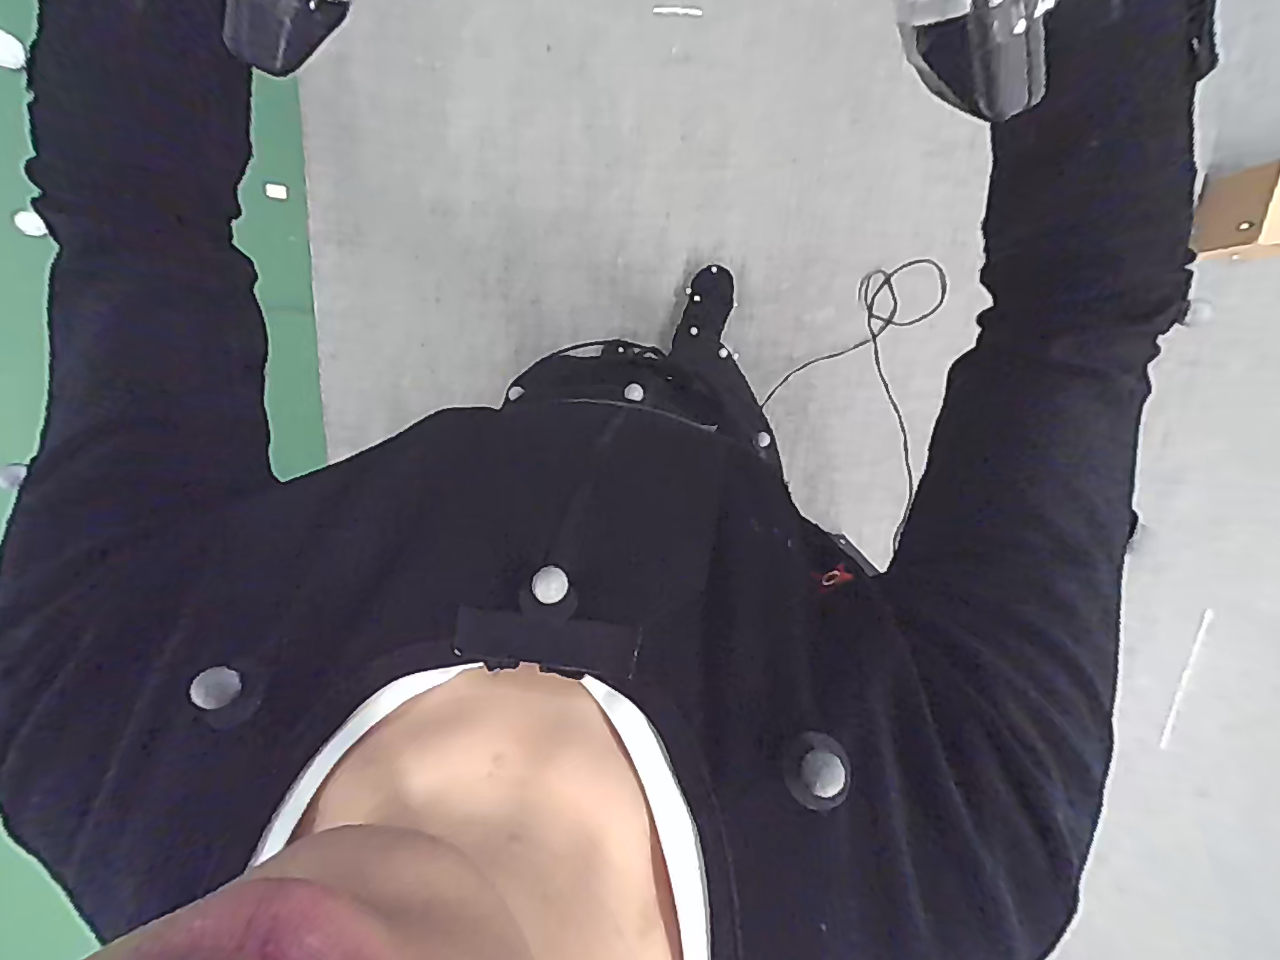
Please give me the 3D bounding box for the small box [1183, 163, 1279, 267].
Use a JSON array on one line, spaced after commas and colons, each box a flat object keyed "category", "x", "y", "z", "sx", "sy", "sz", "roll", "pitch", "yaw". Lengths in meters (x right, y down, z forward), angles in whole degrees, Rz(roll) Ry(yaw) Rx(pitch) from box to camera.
[{"category": "small box", "x": 1.399, "y": -0.590, "z": 1.221, "sx": 0.168, "sy": 0.176, "sz": 0.179, "roll": 4, "pitch": 104, "yaw": 0}]
